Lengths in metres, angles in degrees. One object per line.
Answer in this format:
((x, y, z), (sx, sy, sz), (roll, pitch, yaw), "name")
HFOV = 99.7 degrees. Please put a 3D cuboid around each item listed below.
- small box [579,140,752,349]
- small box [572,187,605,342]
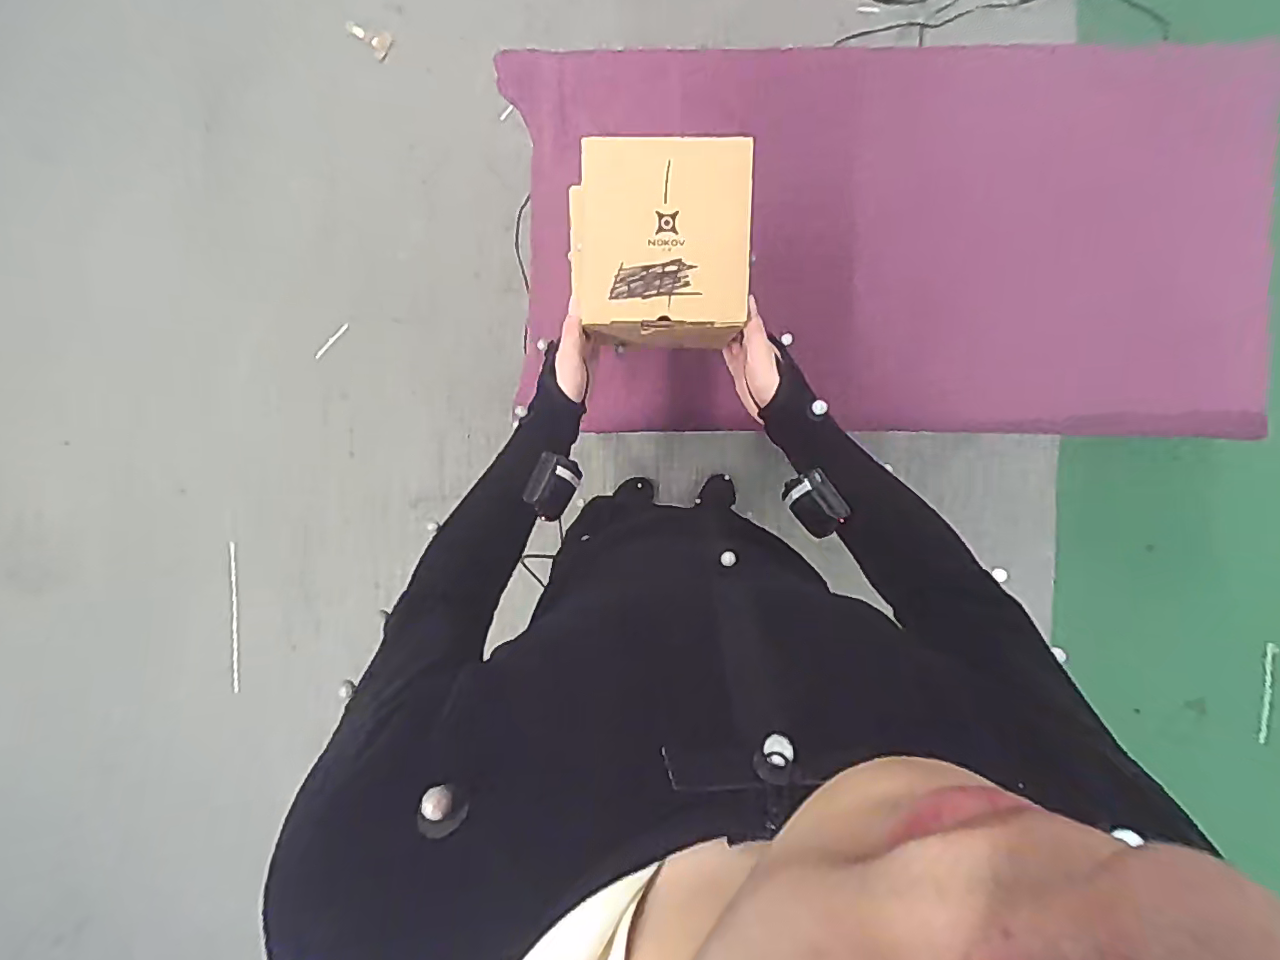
((0.027, -0.244, 0.601), (0.168, 0.176, 0.179), (1, 95, 2), "small box")
((-0.011, -0.319, 0.823), (0.168, 0.176, 0.179), (-1, 91, 2), "small box")
